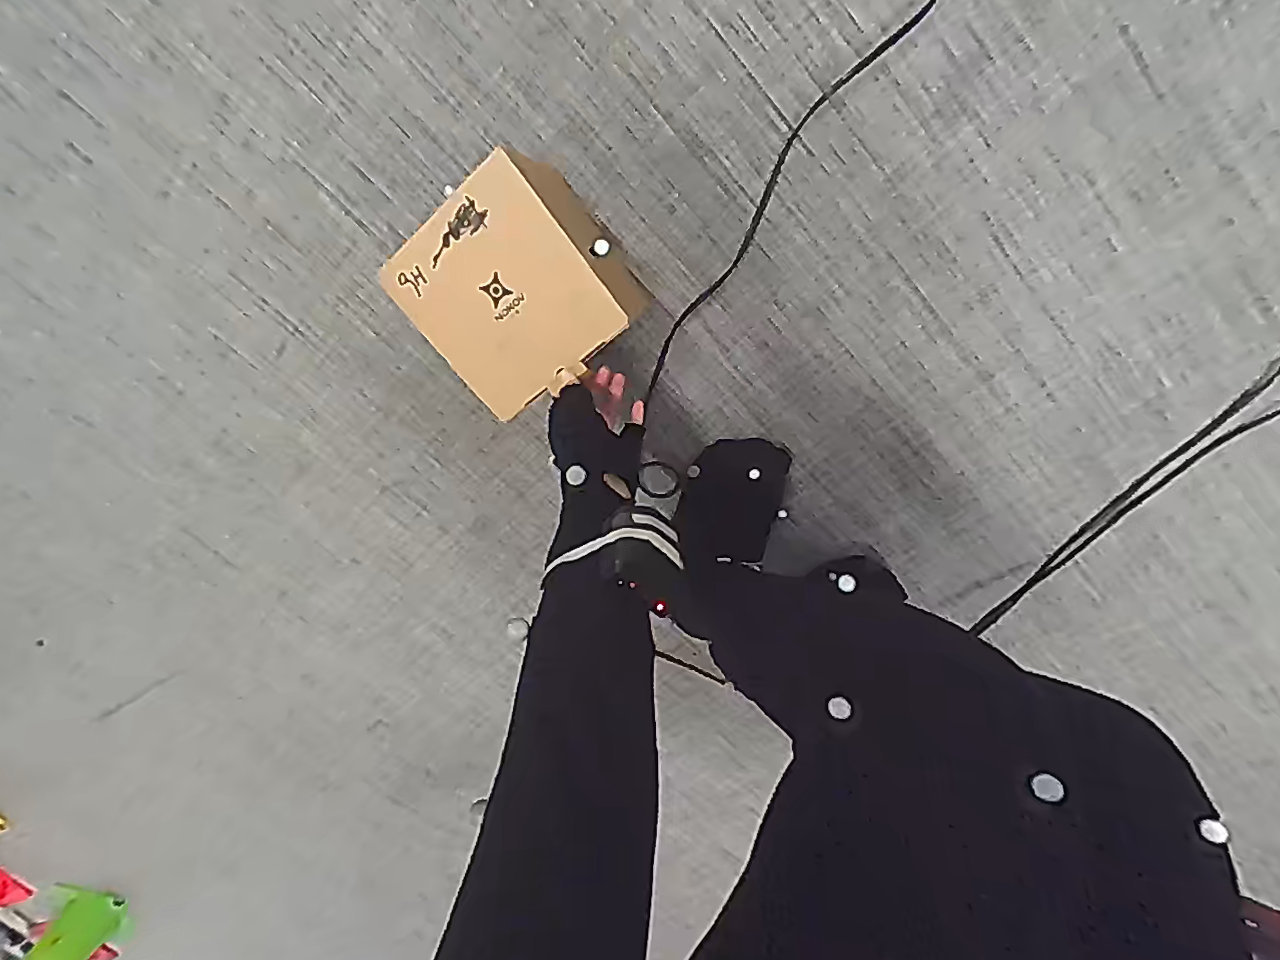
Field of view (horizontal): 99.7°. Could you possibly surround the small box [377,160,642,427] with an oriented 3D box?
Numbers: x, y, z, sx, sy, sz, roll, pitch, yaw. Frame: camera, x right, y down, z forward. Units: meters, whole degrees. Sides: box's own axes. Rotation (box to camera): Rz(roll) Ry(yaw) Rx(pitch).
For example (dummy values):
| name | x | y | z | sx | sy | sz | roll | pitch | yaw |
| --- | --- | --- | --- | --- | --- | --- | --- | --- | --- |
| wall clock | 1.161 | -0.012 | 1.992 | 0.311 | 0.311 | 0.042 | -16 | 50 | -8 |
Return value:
| name | x | y | z | sx | sy | sz | roll | pitch | yaw |
| --- | --- | --- | --- | --- | --- | --- | --- | --- | --- |
| small box | -0.114 | -0.190 | 0.555 | 0.168 | 0.176 | 0.179 | -33 | 107 | 19 |
